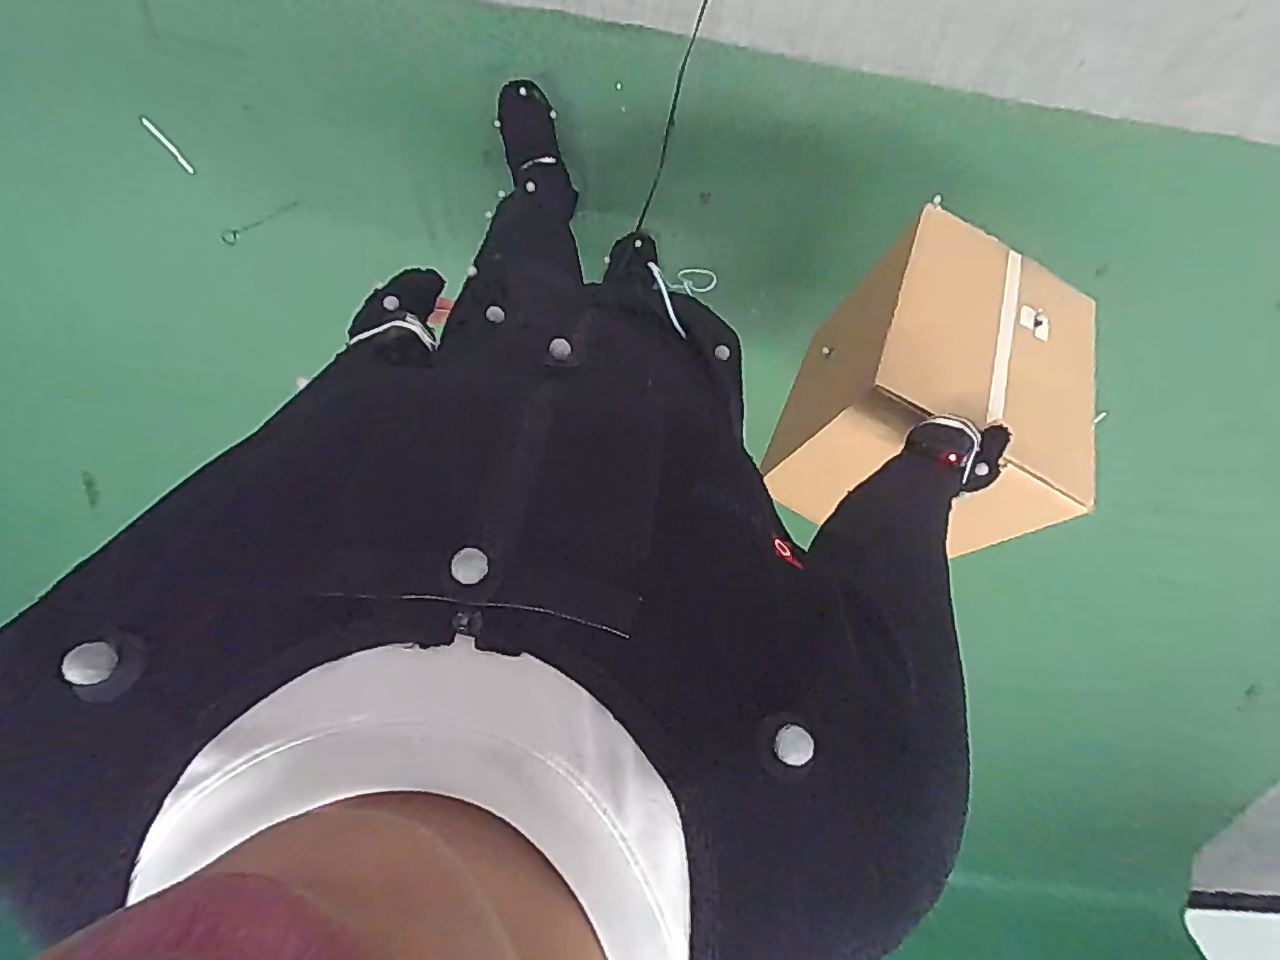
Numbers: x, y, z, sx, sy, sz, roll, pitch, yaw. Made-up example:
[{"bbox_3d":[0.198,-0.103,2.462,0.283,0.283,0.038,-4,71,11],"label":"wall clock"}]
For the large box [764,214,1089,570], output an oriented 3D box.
[{"bbox_3d":[0.448,-0.126,0.876,0.320,0.408,0.320,29,151,-4],"label":"large box"}]
